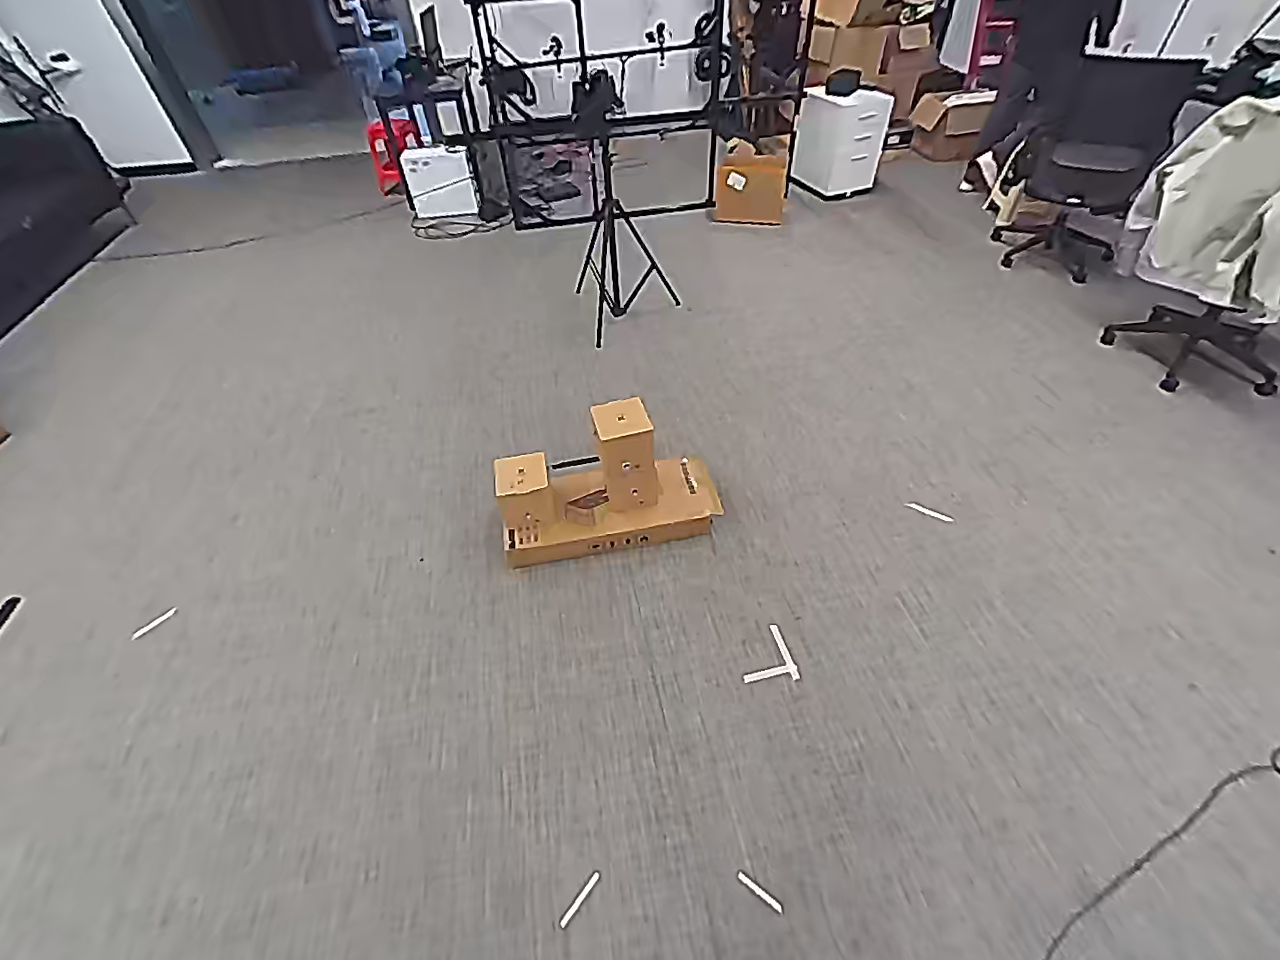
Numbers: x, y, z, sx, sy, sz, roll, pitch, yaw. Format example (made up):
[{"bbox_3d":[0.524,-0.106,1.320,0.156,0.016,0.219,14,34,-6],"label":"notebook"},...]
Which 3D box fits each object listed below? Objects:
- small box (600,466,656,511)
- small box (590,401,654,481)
[{"bbox_3d":[-0.042,-0.011,1.849,0.168,0.176,0.179,-11,47,-8],"label":"small box"},{"bbox_3d":[-0.058,-0.124,1.732,0.168,0.176,0.179,-14,47,-9],"label":"small box"}]
